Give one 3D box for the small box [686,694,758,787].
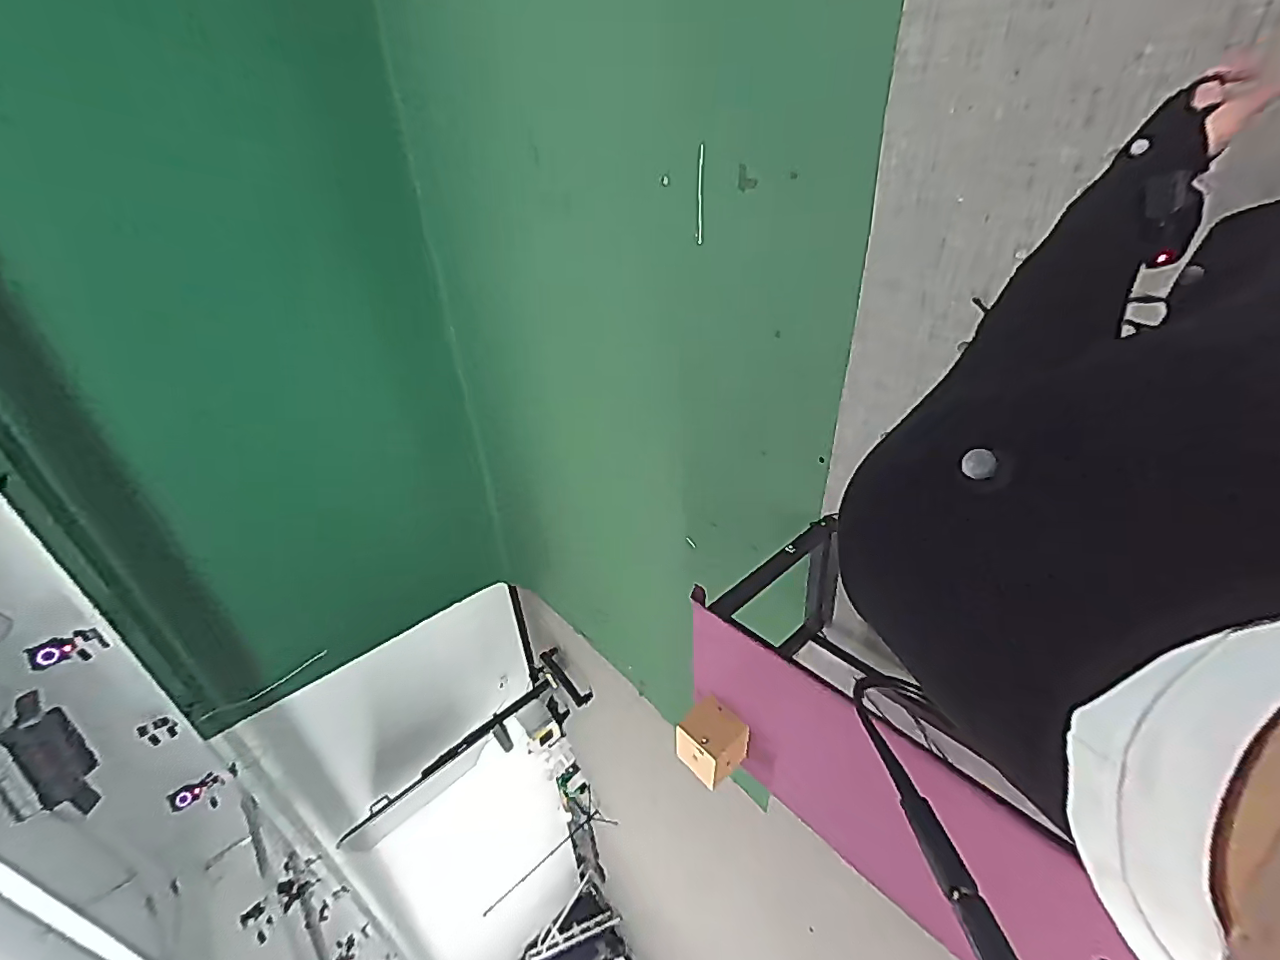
[{"bbox_3d":[0.266,0.842,1.758,0.168,0.176,0.179,29,135,40],"label":"small box"}]
